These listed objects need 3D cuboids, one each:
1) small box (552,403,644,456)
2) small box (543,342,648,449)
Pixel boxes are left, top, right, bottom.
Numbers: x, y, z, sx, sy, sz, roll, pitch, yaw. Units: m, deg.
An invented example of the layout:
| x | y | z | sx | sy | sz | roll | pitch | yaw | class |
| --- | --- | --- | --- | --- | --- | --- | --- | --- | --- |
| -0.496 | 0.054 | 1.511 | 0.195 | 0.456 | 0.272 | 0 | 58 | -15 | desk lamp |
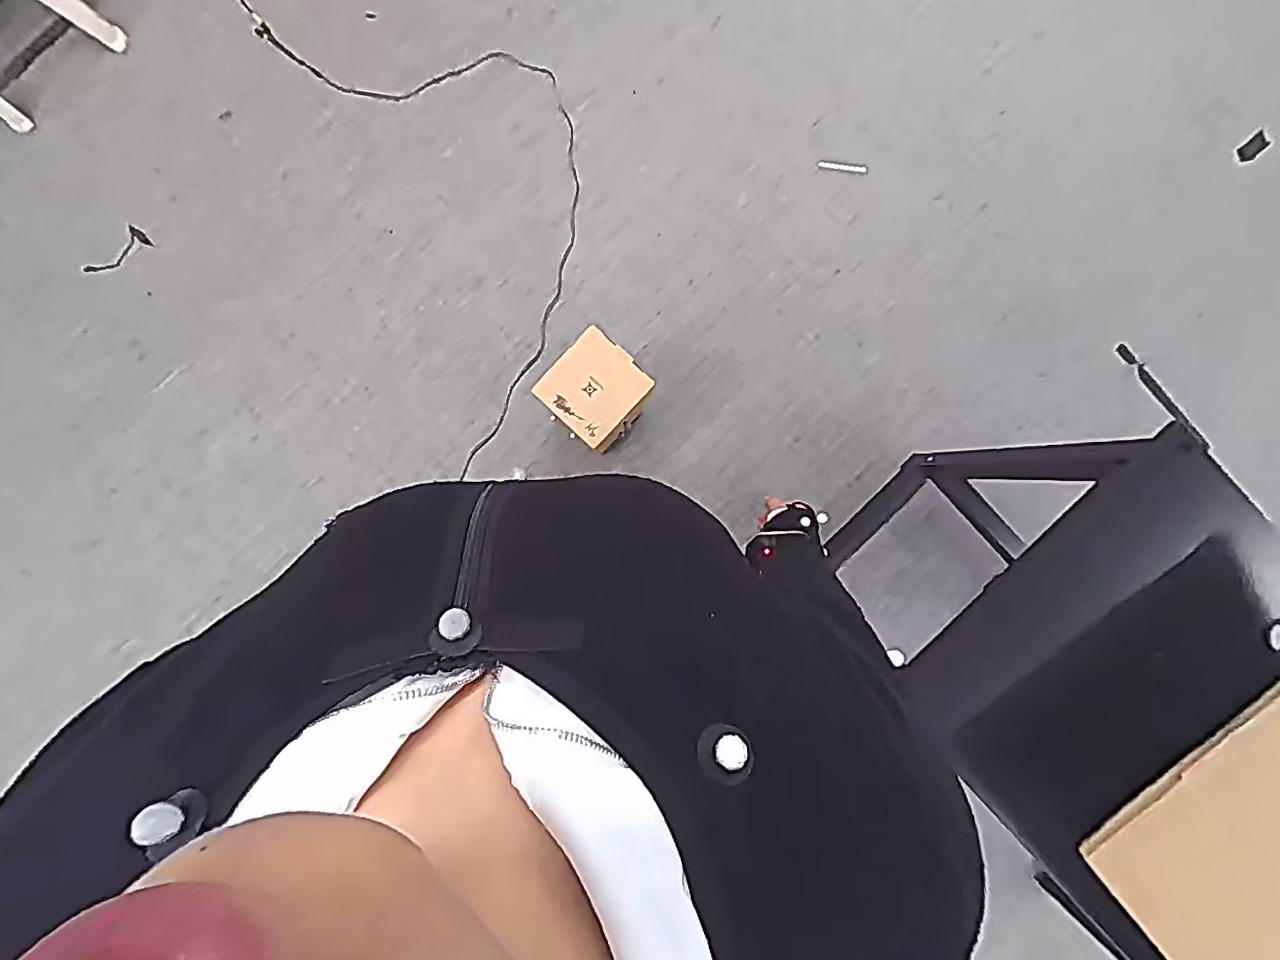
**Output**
| x | y | z | sx | sy | sz | roll | pitch | yaw | class |
| --- | --- | --- | --- | --- | --- | --- | --- | --- | --- |
| -0.109 | -0.180 | 1.425 | 0.168 | 0.176 | 0.179 | 43 | 89 | -1 | small box |
| -0.100 | -0.187 | 1.264 | 0.168 | 0.176 | 0.179 | 40 | 87 | -3 | small box |
